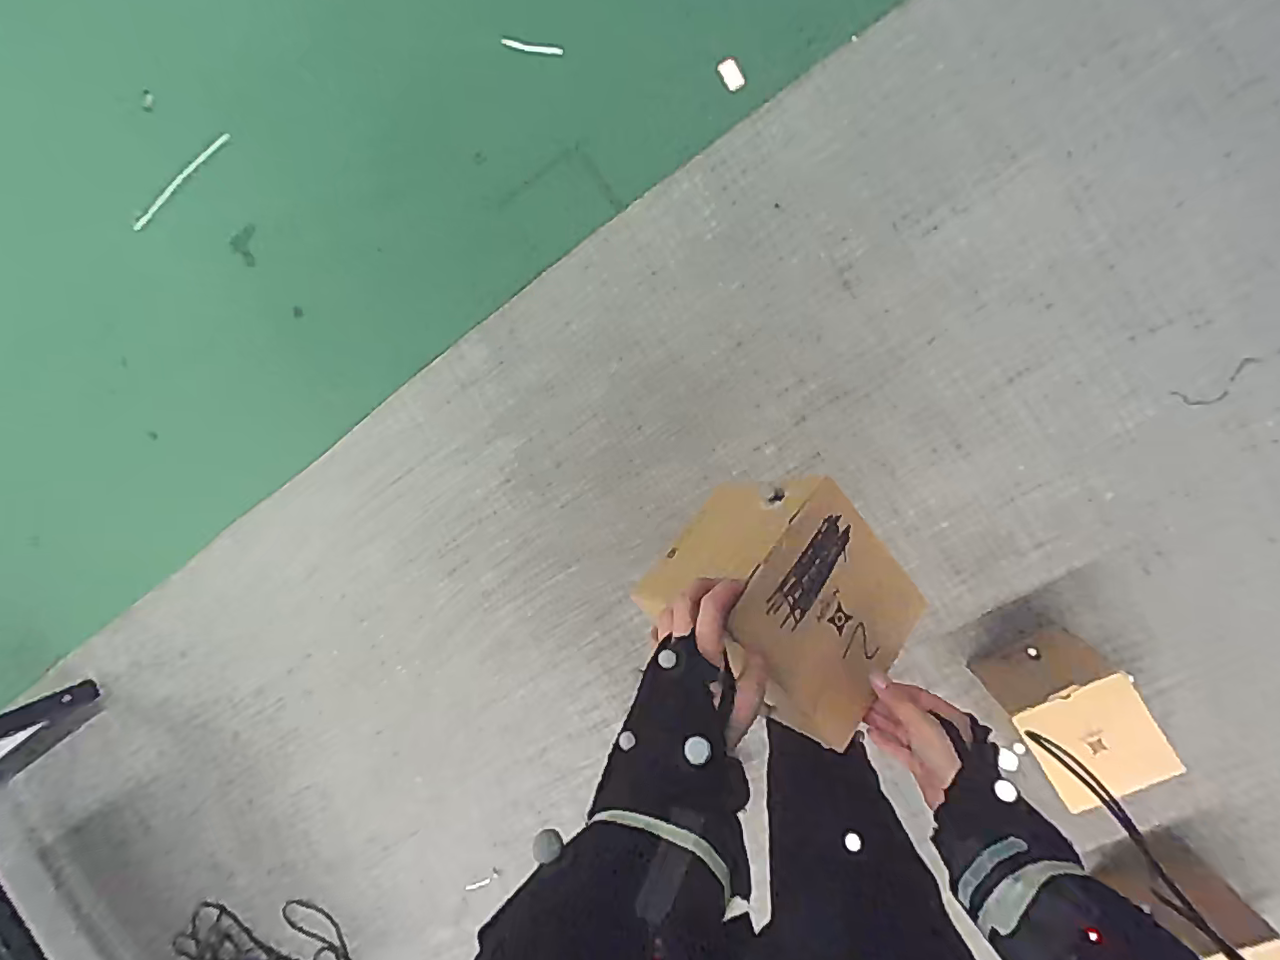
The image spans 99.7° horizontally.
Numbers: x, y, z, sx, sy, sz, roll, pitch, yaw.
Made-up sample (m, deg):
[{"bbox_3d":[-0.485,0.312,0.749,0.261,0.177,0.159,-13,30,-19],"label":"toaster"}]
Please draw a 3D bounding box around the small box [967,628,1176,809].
[{"bbox_3d":[0.672,0.371,0.868,0.168,0.176,0.179,-32,89,13],"label":"small box"}]

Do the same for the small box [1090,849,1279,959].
[{"bbox_3d":[0.882,0.747,0.871,0.179,0.176,0.168,-28,92,12],"label":"small box"}]
